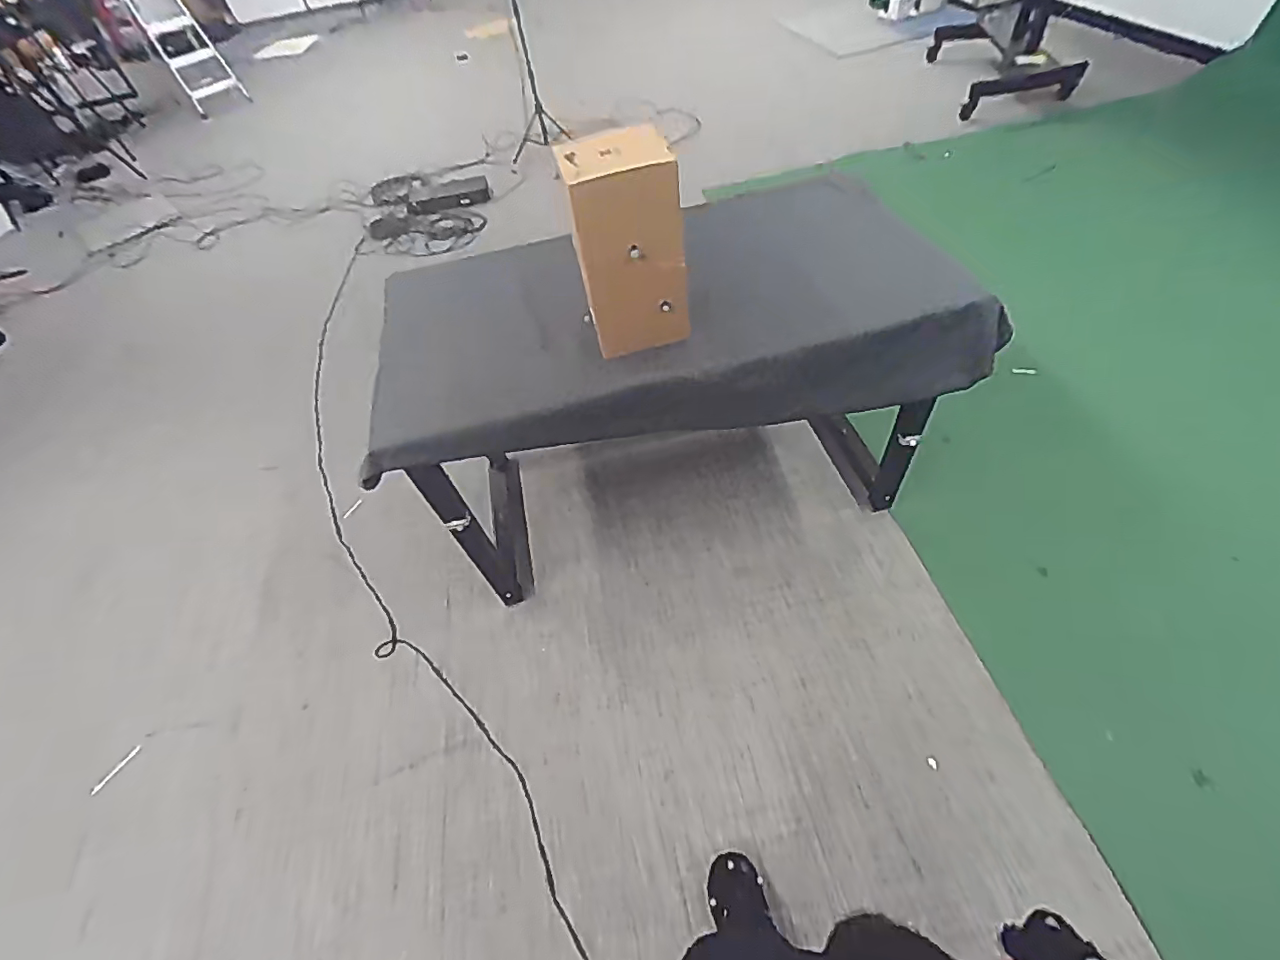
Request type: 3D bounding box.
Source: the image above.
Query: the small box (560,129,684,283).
[{"bbox_3d":[-0.027,-0.467,0.928,0.179,0.176,0.168,-14,50,-4],"label":"small box"}]

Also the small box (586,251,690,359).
[{"bbox_3d":[-0.005,-0.363,1.052,0.179,0.176,0.168,-15,50,-2],"label":"small box"}]
